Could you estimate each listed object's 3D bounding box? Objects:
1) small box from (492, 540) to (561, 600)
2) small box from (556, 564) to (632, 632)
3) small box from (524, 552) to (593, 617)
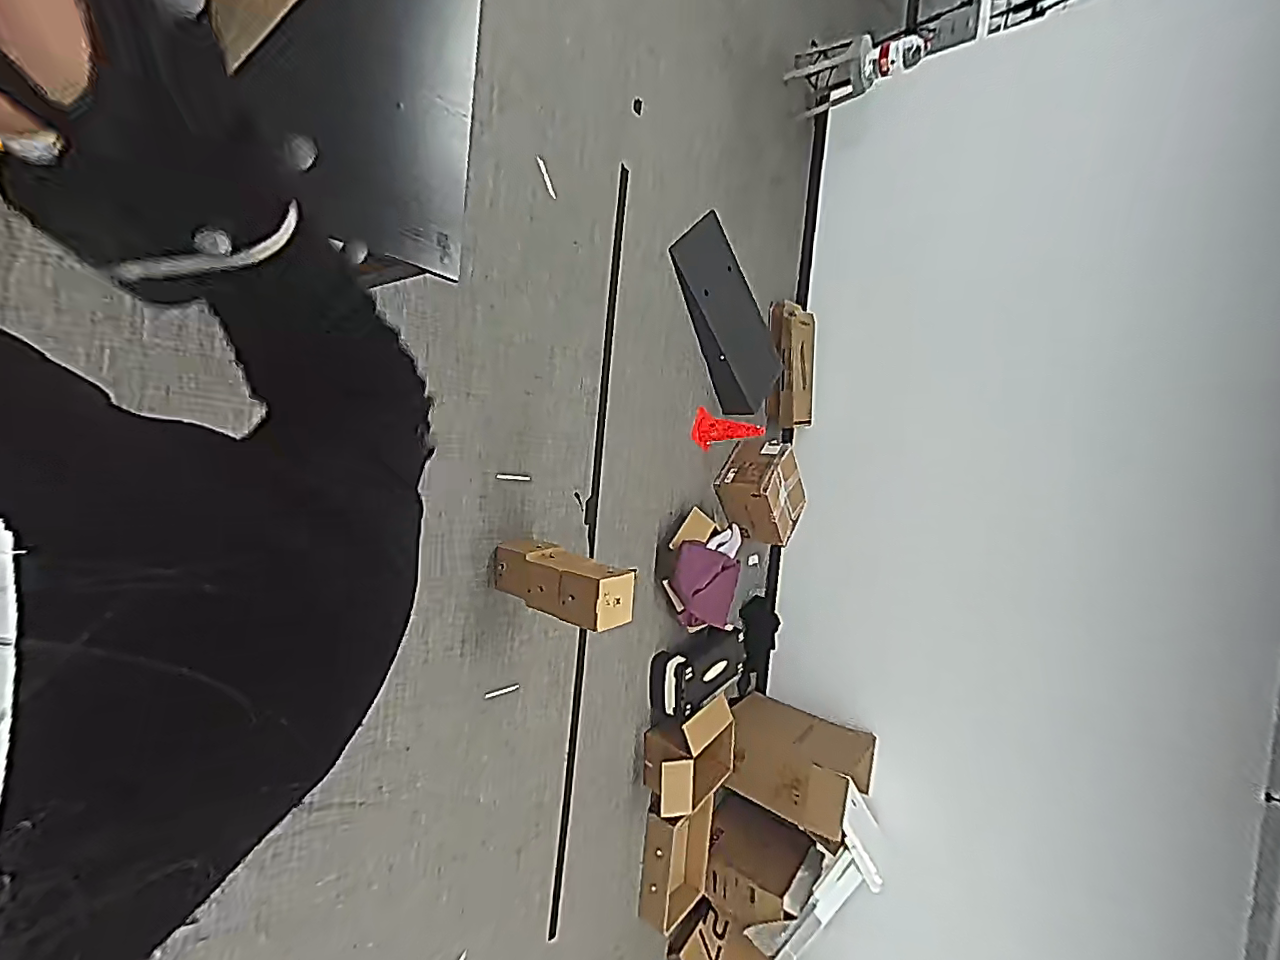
[{"bbox_3d":[-0.407,0.317,1.942,0.179,0.176,0.168,-5,99,-51],"label":"small box"},{"bbox_3d":[-0.147,0.374,1.747,0.179,0.176,0.168,1,94,-53],"label":"small box"},{"bbox_3d":[-0.280,0.351,1.843,0.179,0.176,0.168,-7,101,-52],"label":"small box"}]
